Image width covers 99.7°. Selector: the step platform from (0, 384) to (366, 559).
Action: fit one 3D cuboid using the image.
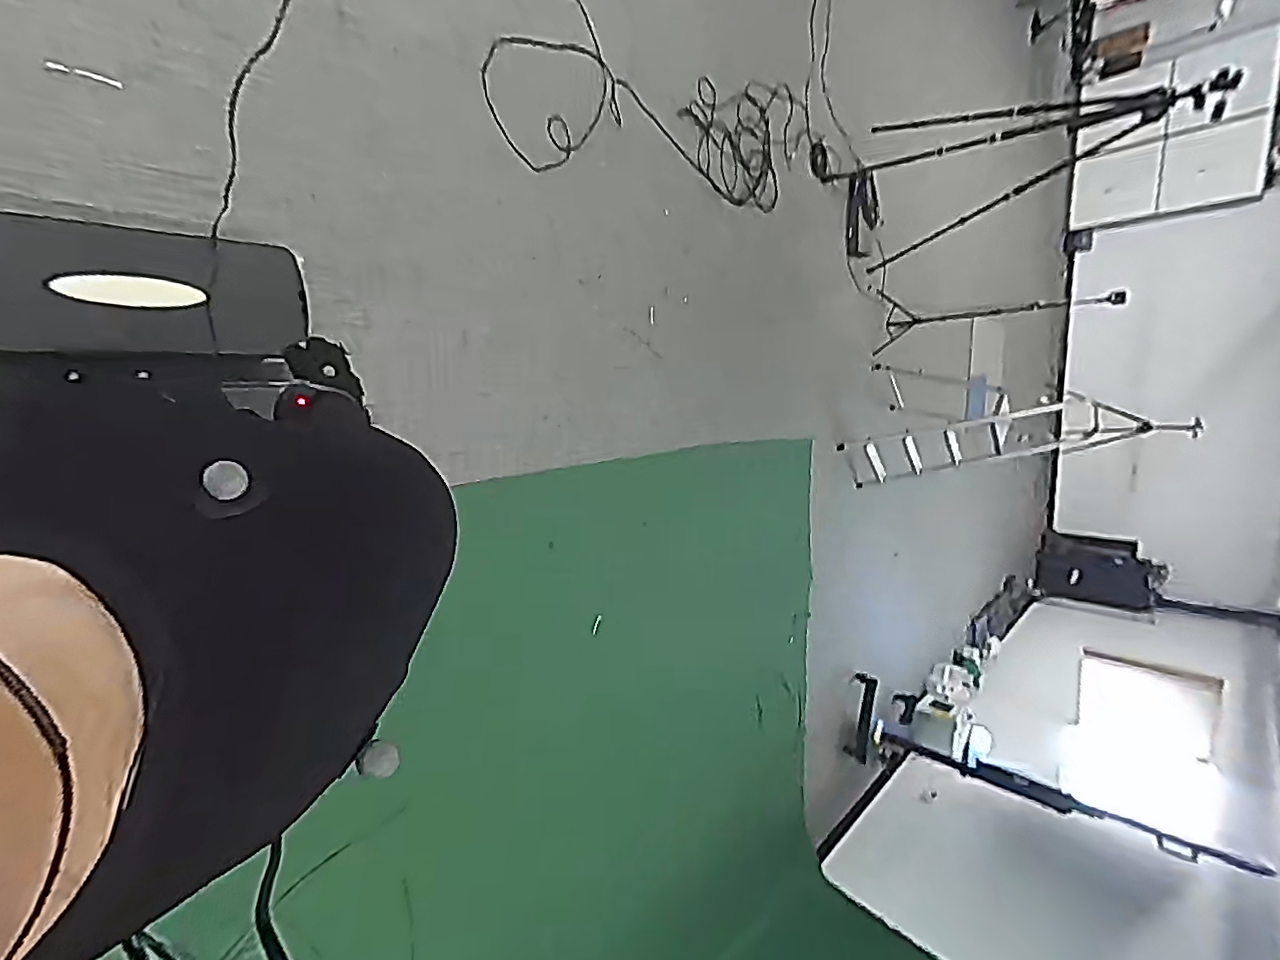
[{"bbox_3d":[-0.942,-0.037,1.071,0.684,0.204,0.286,-11,102,-43],"label":"step platform"}]
